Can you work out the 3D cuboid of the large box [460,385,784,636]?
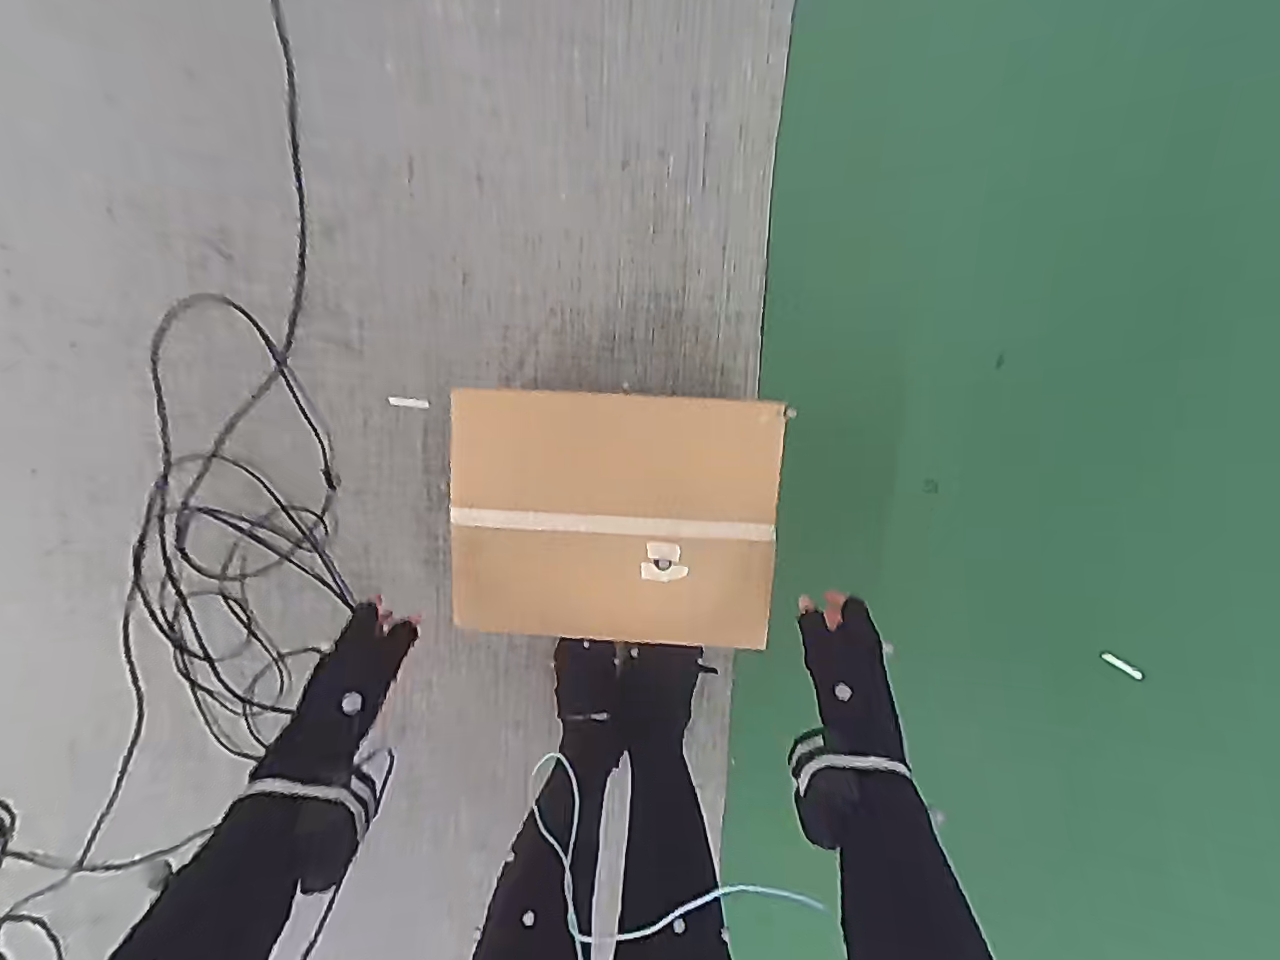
[{"bbox_3d":[-0.025,0.023,0.826,0.408,0.320,0.320,3,99,1],"label":"large box"}]
